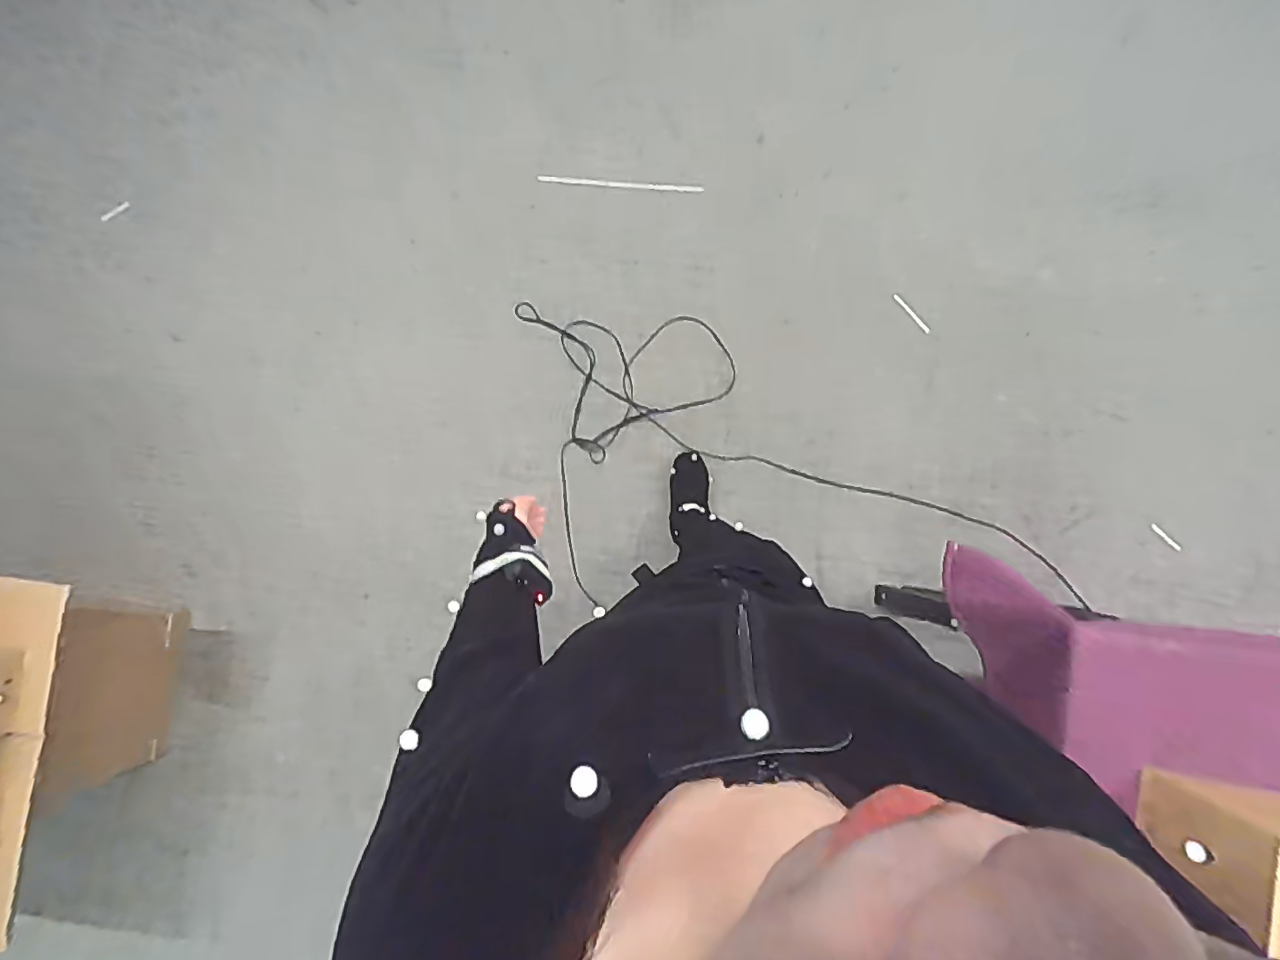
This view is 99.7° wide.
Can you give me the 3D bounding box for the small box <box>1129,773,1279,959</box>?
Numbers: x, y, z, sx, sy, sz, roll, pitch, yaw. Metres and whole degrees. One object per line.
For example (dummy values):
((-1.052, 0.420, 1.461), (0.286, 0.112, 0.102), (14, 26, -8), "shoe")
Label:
((0.718, 0.463, 0.615), (0.179, 0.176, 0.168), (11, 86, 3), "small box")
